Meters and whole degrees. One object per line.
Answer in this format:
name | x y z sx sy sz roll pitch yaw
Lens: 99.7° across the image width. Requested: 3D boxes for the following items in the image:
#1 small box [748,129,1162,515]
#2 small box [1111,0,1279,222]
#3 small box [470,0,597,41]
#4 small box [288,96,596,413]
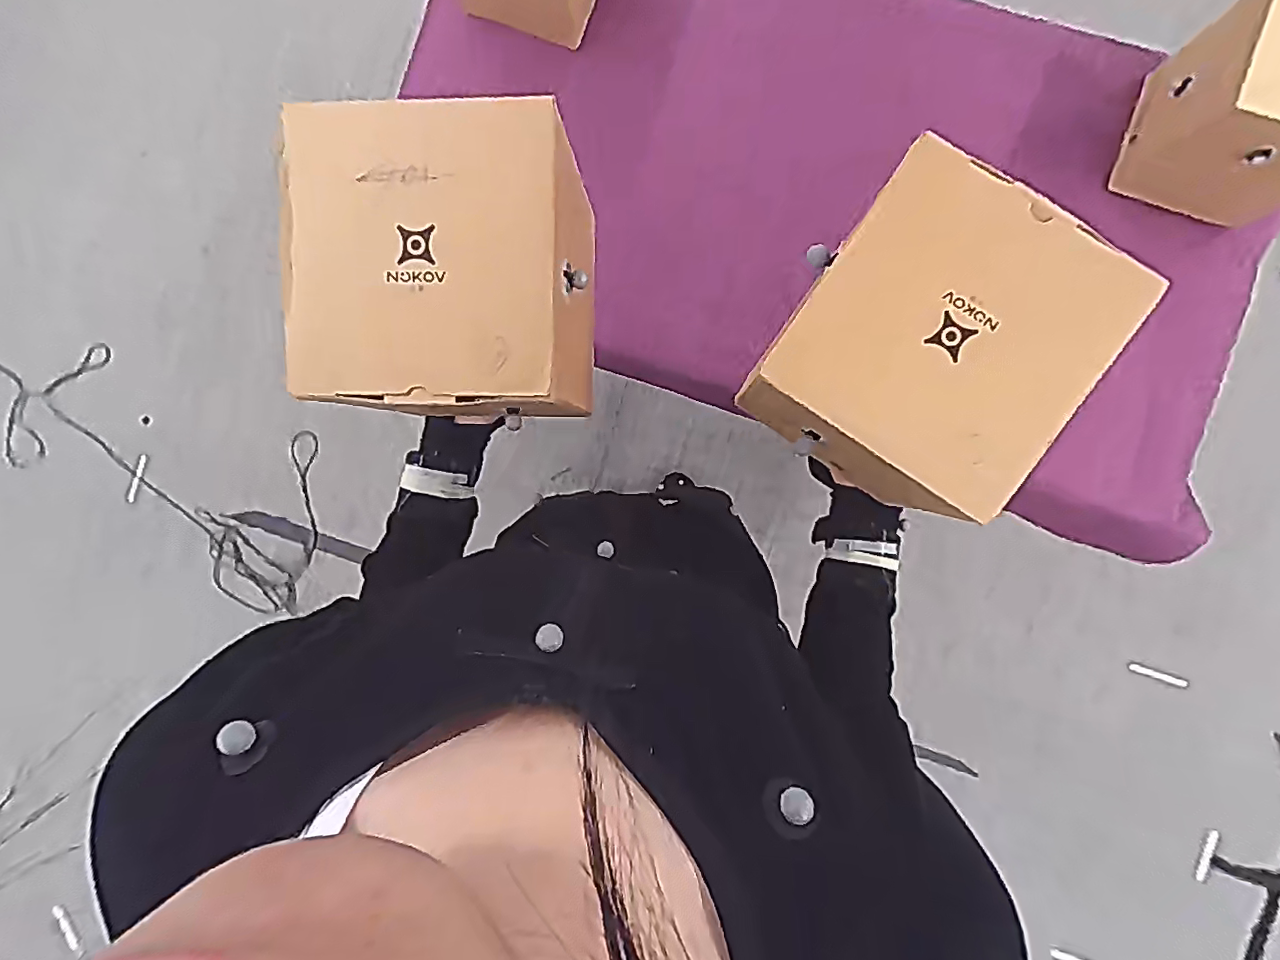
small box | 0.195 -0.095 0.401 0.168 0.176 0.179 35 93 3
small box | 0.741 -0.446 0.657 0.179 0.176 0.168 19 92 1
small box | -0.141 -0.718 0.689 0.179 0.176 0.168 21 93 0
small box | -0.124 -0.141 0.402 0.168 0.176 0.179 0 93 3
